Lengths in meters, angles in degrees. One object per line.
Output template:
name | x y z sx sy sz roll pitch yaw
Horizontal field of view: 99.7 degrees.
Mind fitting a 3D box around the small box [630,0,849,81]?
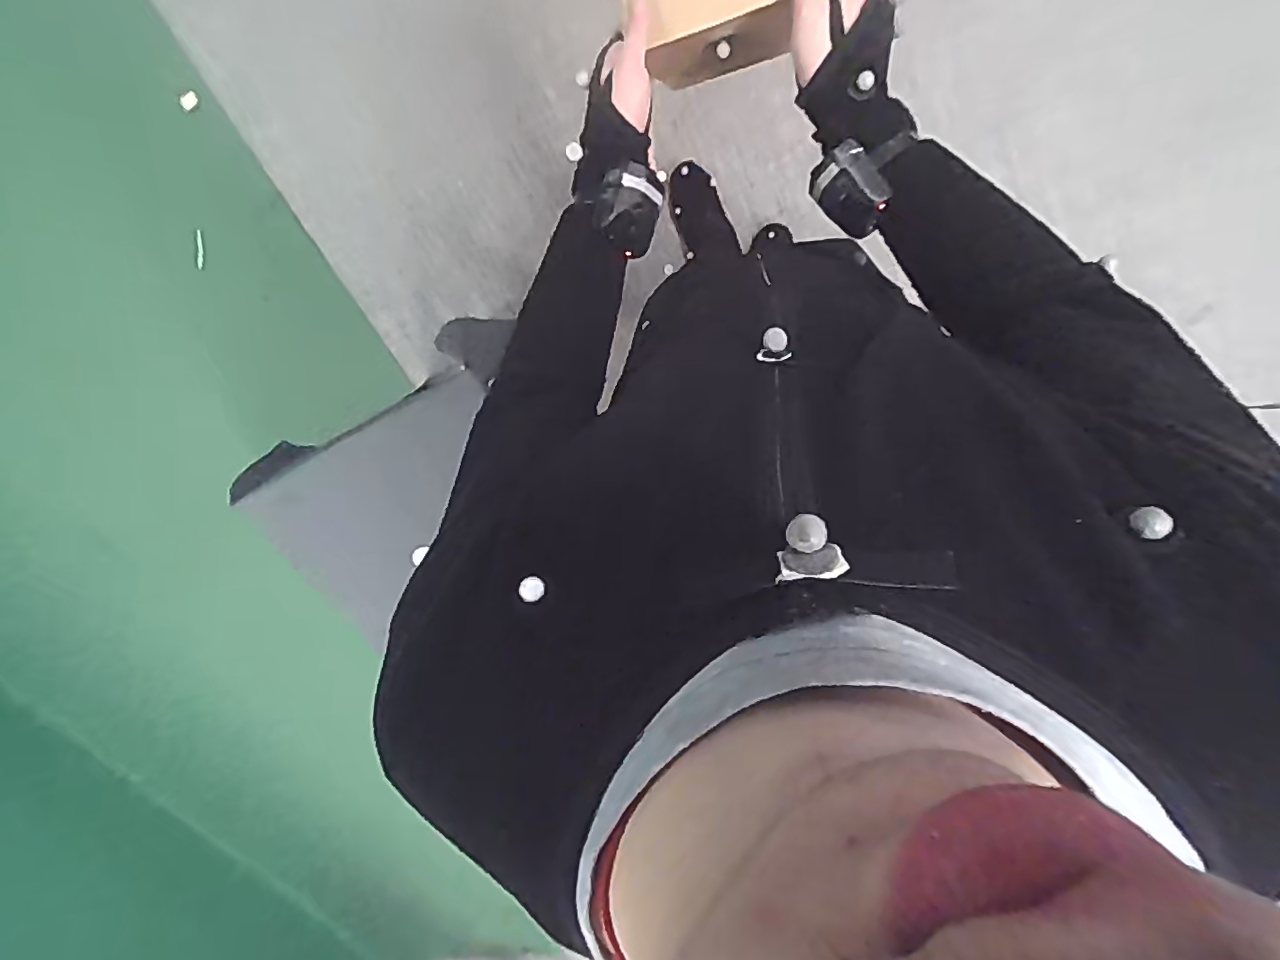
small box | 0.084 -0.466 0.452 0.179 0.176 0.168 -6 114 17
